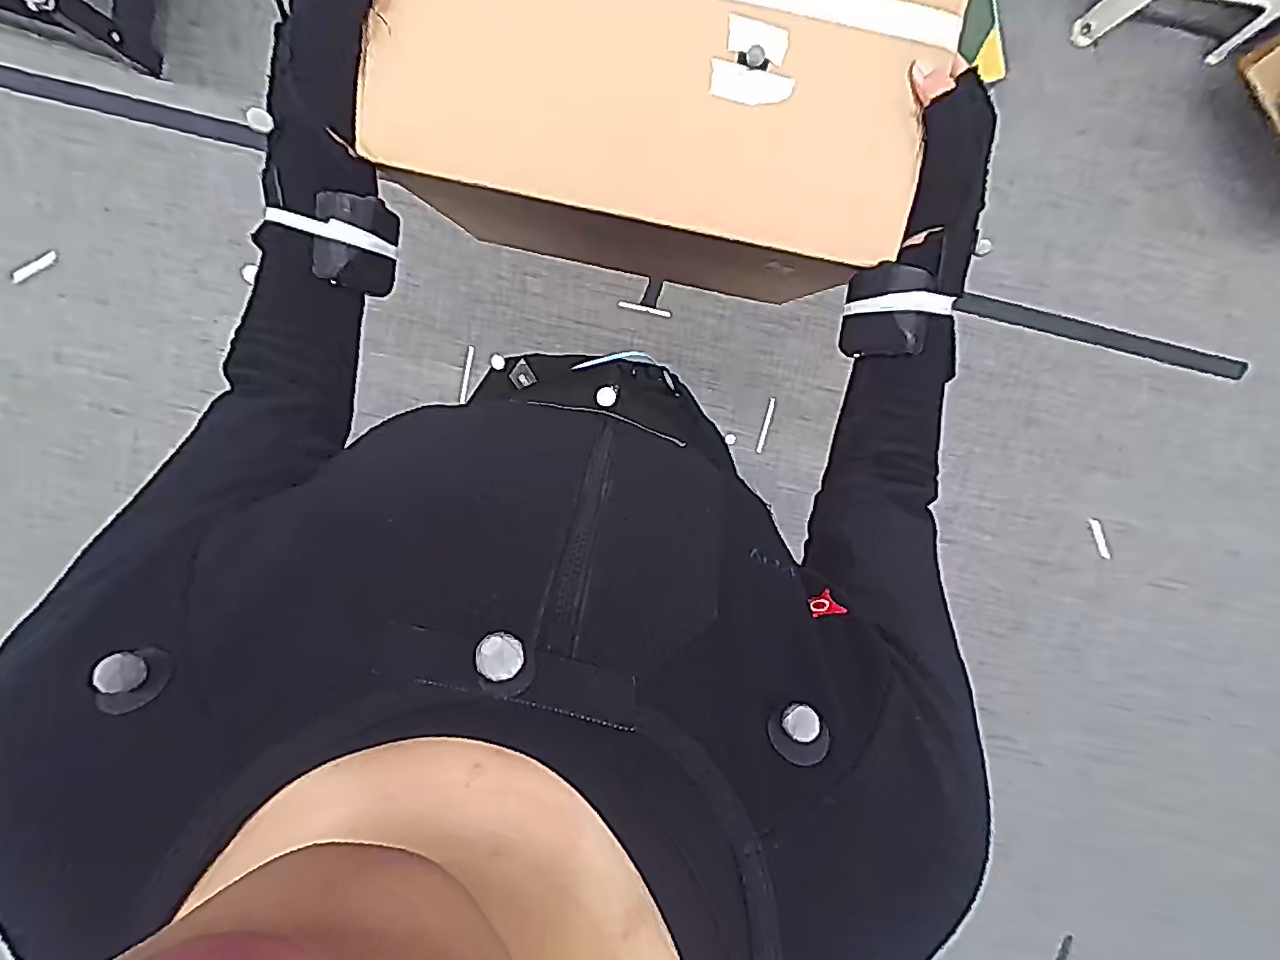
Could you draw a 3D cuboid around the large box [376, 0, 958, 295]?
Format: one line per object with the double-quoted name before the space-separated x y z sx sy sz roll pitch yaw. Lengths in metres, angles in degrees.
"large box" 0.020 -0.385 0.521 0.408 0.320 0.320 10 104 -4
